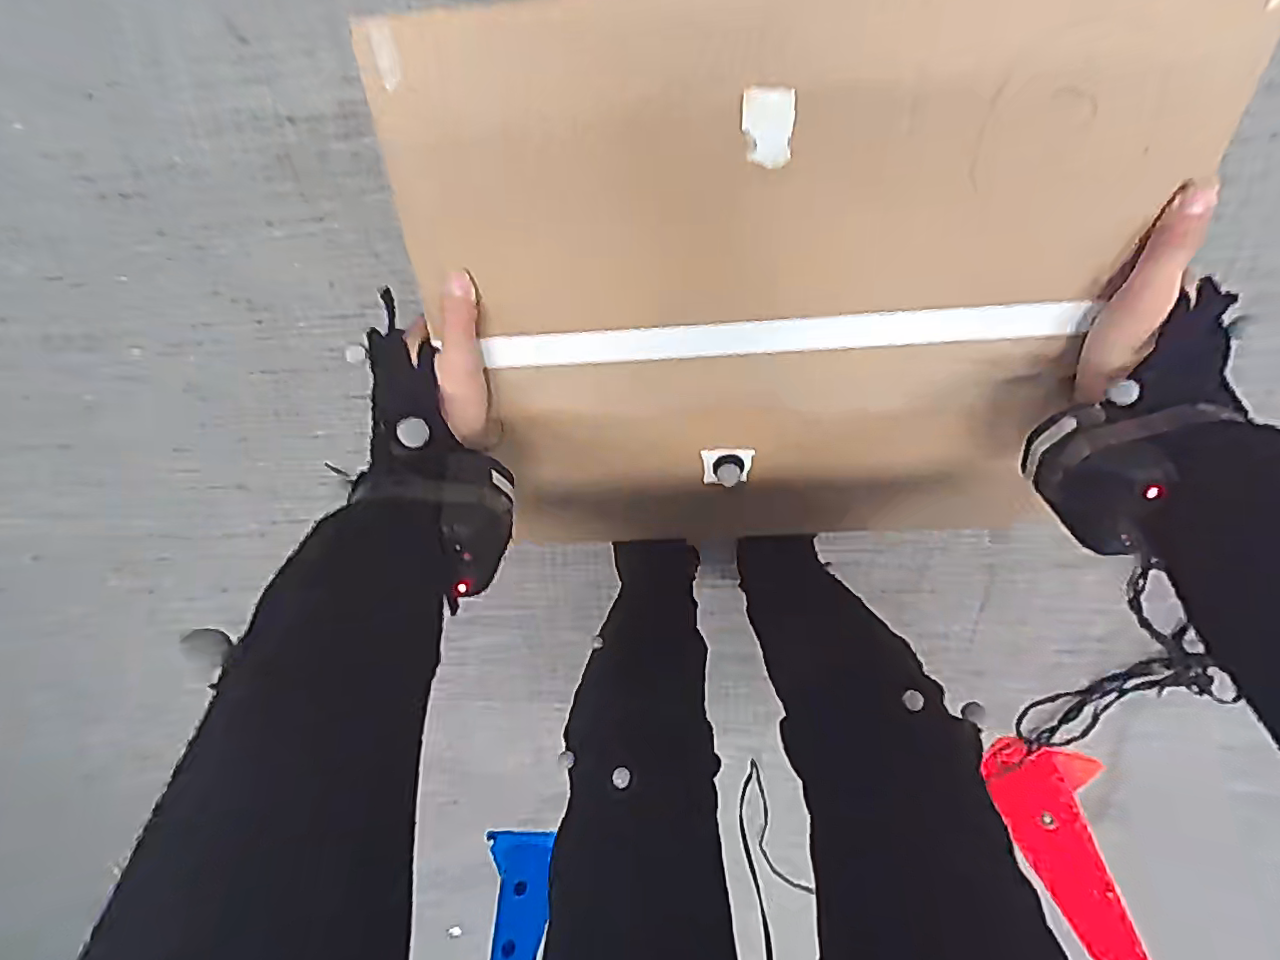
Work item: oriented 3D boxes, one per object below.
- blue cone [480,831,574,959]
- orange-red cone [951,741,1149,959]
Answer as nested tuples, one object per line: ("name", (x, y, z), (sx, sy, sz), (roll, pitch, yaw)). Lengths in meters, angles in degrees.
("blue cone", (-0.264, 0.939, 1.087), (0.192, 0.380, 0.193), (-1, 117, 6))
("orange-red cone", (0.675, 0.622, 0.814), (0.199, 0.360, 0.198), (16, 119, -4))
